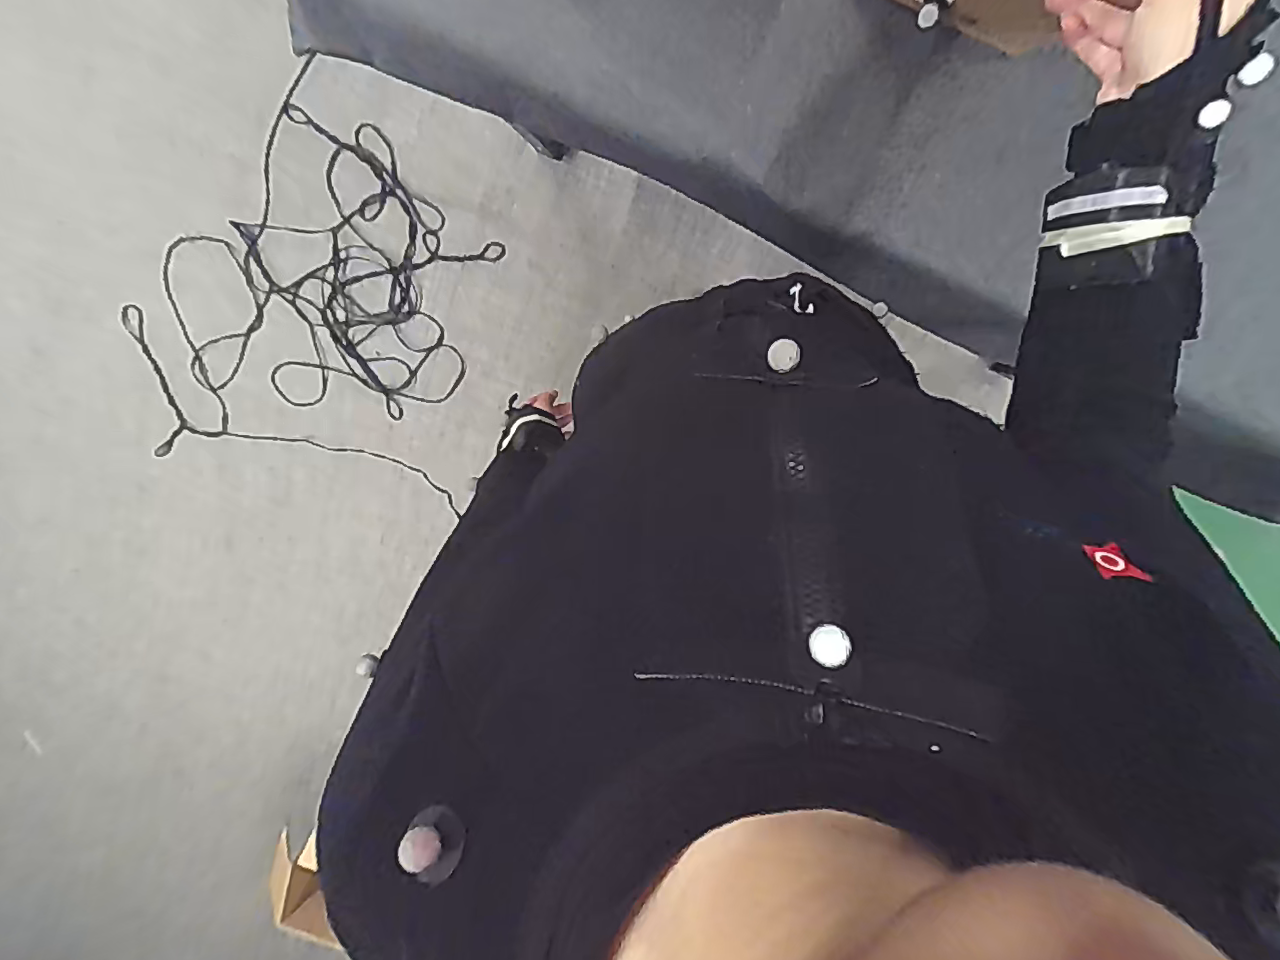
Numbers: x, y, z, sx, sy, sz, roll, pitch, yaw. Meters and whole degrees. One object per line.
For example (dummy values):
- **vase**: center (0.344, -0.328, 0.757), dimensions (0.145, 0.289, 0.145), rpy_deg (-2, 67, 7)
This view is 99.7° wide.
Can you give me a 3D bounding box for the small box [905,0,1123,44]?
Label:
- **small box**: center (0.266, -0.425, 0.341), dimensions (0.168, 0.176, 0.179), rpy_deg (19, 117, -5)
